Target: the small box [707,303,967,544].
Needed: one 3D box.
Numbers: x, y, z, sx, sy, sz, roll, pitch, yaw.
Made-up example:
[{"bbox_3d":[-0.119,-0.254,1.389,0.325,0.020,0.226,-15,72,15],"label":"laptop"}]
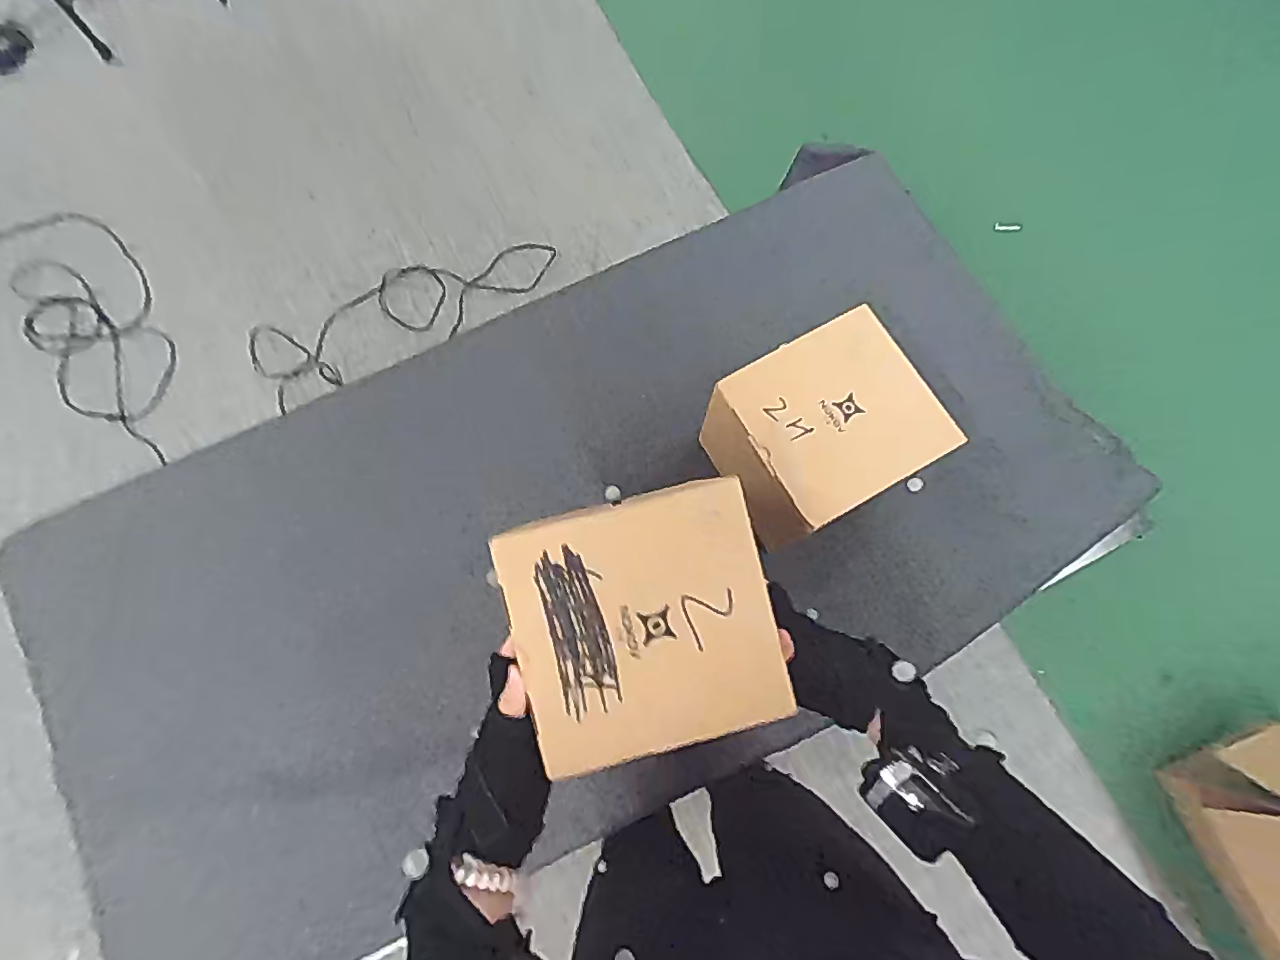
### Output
[{"bbox_3d":[0.189,-0.048,0.580,0.179,0.176,0.168,-29,77,-6],"label":"small box"}]
